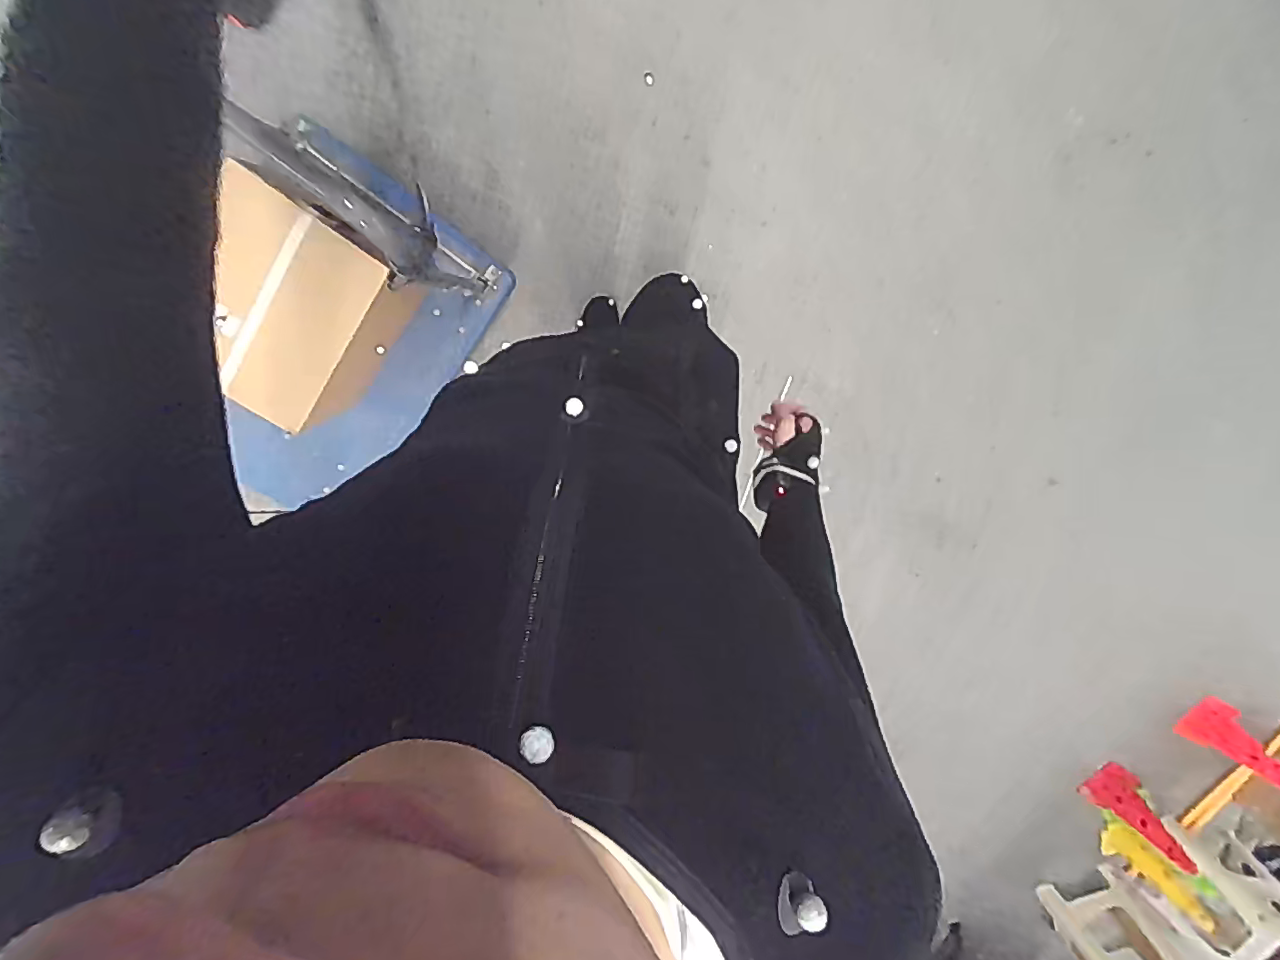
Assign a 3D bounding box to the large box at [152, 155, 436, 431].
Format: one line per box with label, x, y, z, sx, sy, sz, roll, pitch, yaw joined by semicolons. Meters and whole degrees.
large box;-0.703;-0.386;1.155;0.320;0.320;0.408;35;106;-14
